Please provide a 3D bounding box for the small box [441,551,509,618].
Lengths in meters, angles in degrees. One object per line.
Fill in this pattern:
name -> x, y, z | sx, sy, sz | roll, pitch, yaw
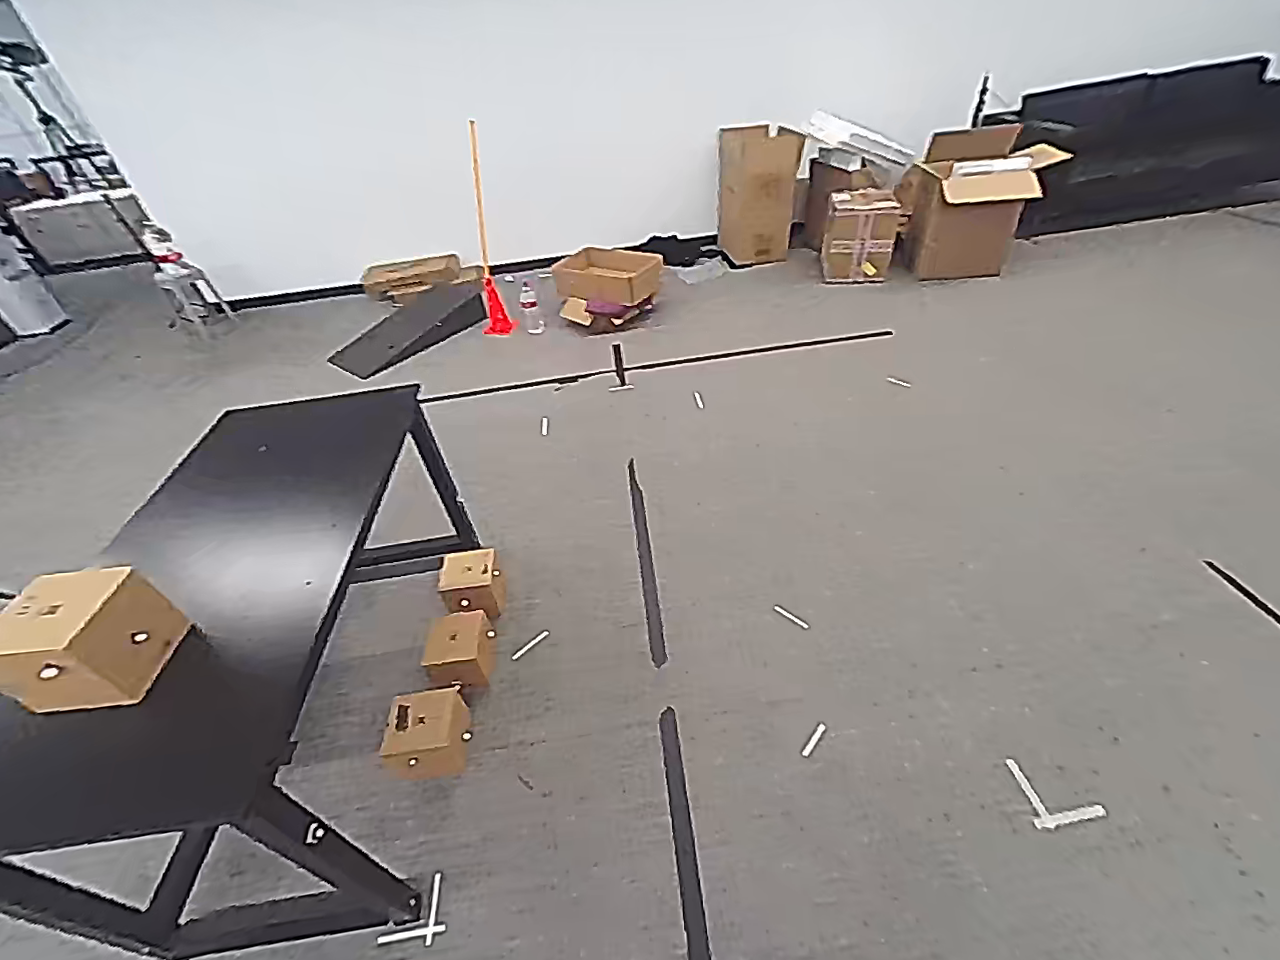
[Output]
small box -> -0.573, 0.376, 1.895 | 0.179, 0.176, 0.168 | -9, 41, -1

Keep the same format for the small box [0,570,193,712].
small box -> -0.941, 0.280, 0.934 | 0.179, 0.176, 0.168 | -7, 39, 2

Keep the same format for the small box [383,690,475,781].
small box -> -0.577, 0.712, 1.500 | 0.179, 0.176, 0.168 | -8, 40, -2

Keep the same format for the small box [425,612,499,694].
small box -> -0.550, 0.545, 1.695 | 0.168, 0.176, 0.179 | -10, 40, -1
